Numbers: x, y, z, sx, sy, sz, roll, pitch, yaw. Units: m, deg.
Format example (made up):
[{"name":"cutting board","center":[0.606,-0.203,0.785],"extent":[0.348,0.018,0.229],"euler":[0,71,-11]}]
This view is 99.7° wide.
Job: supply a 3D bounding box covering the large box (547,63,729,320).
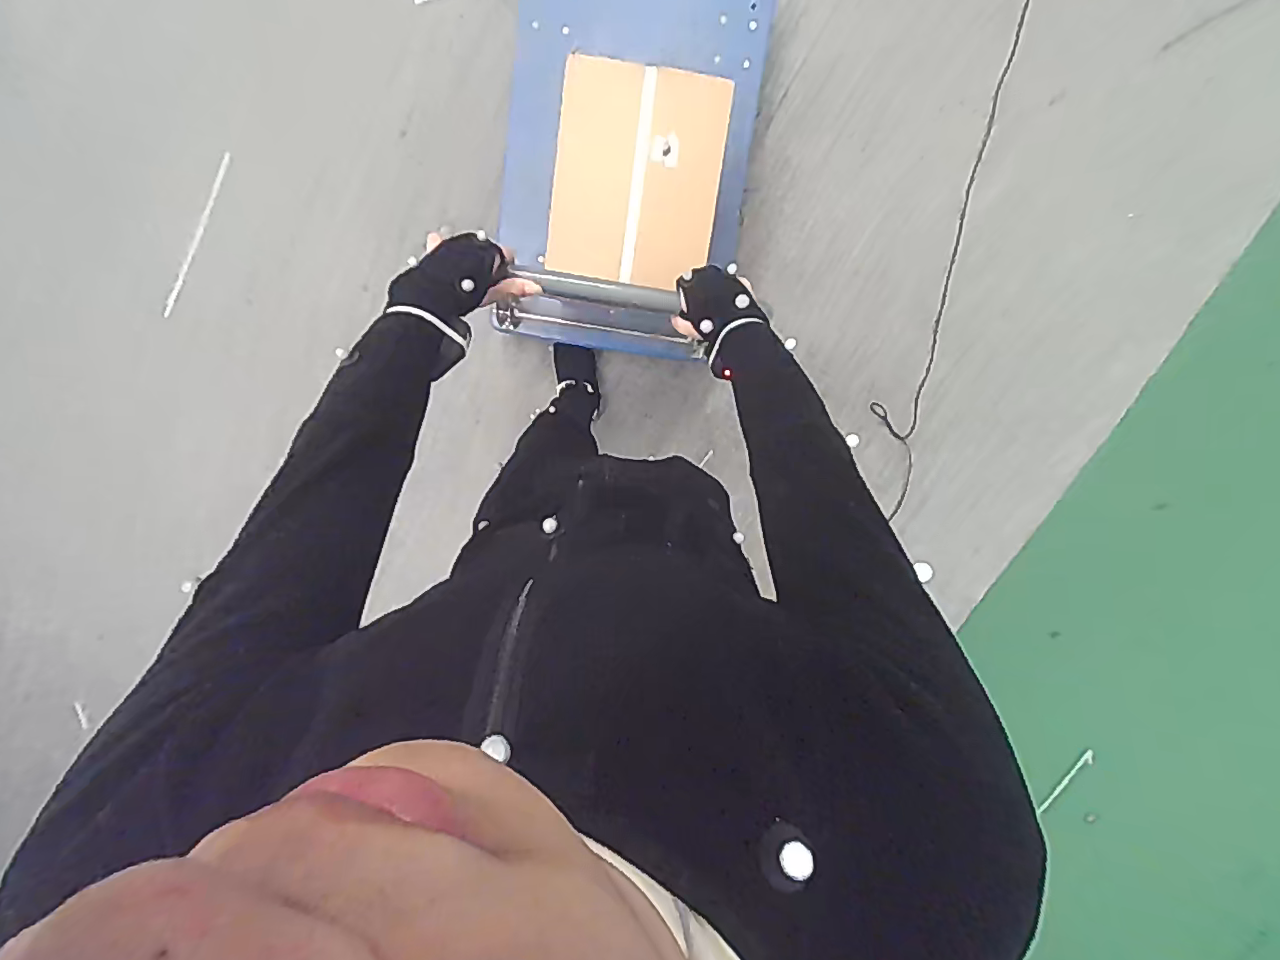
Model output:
[{"name":"large box","center":[-0.011,-0.590,1.192],"extent":[0.320,0.320,0.408],"euler":[8,100,-3]}]
